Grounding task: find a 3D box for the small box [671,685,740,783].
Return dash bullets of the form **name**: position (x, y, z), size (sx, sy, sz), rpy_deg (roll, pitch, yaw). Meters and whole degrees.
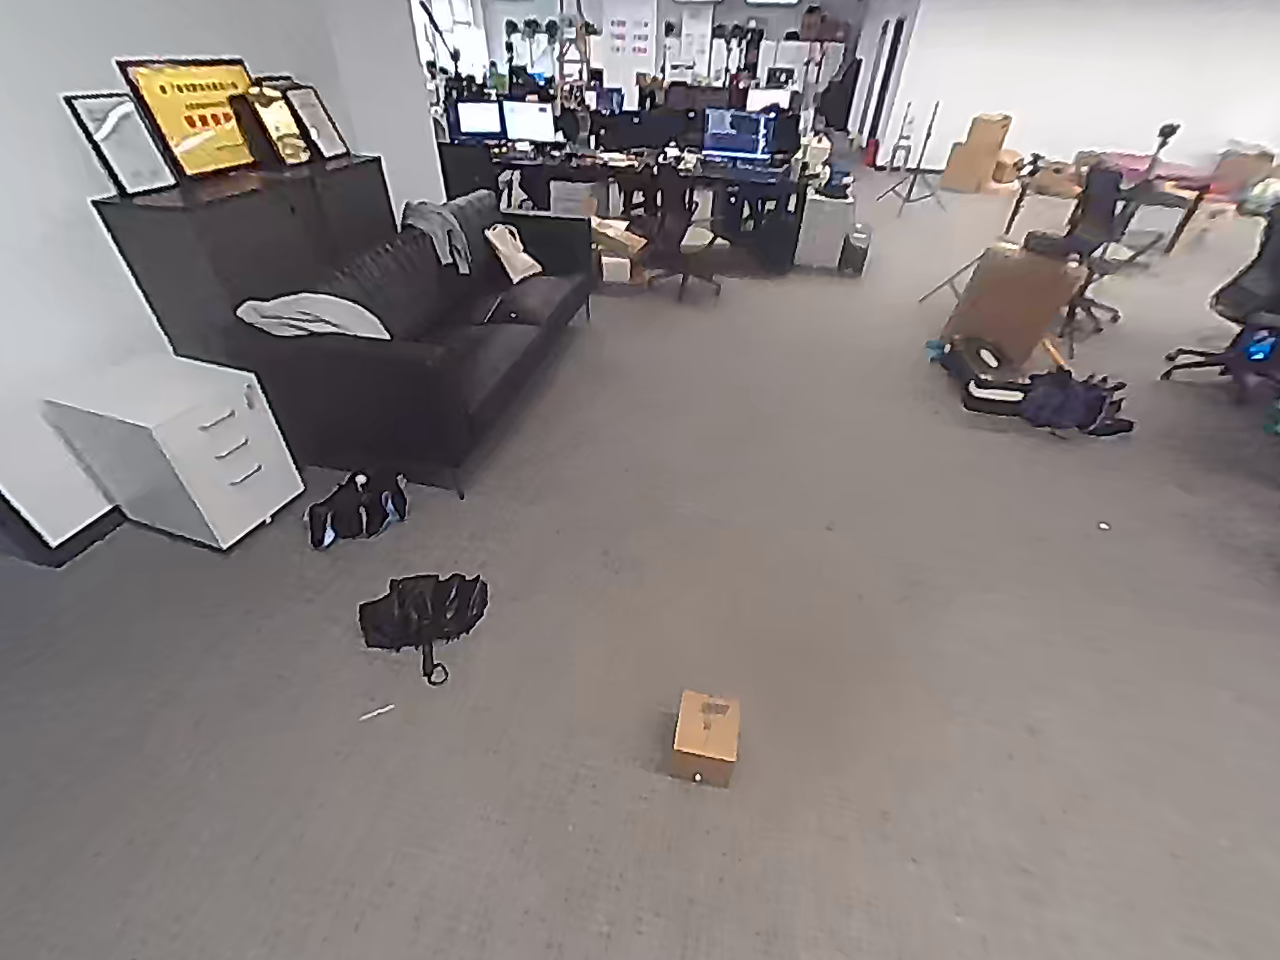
- **small box**: position (0.180, 0.708, 1.509), size (0.168, 0.176, 0.179), rpy_deg (8, 41, 8)
